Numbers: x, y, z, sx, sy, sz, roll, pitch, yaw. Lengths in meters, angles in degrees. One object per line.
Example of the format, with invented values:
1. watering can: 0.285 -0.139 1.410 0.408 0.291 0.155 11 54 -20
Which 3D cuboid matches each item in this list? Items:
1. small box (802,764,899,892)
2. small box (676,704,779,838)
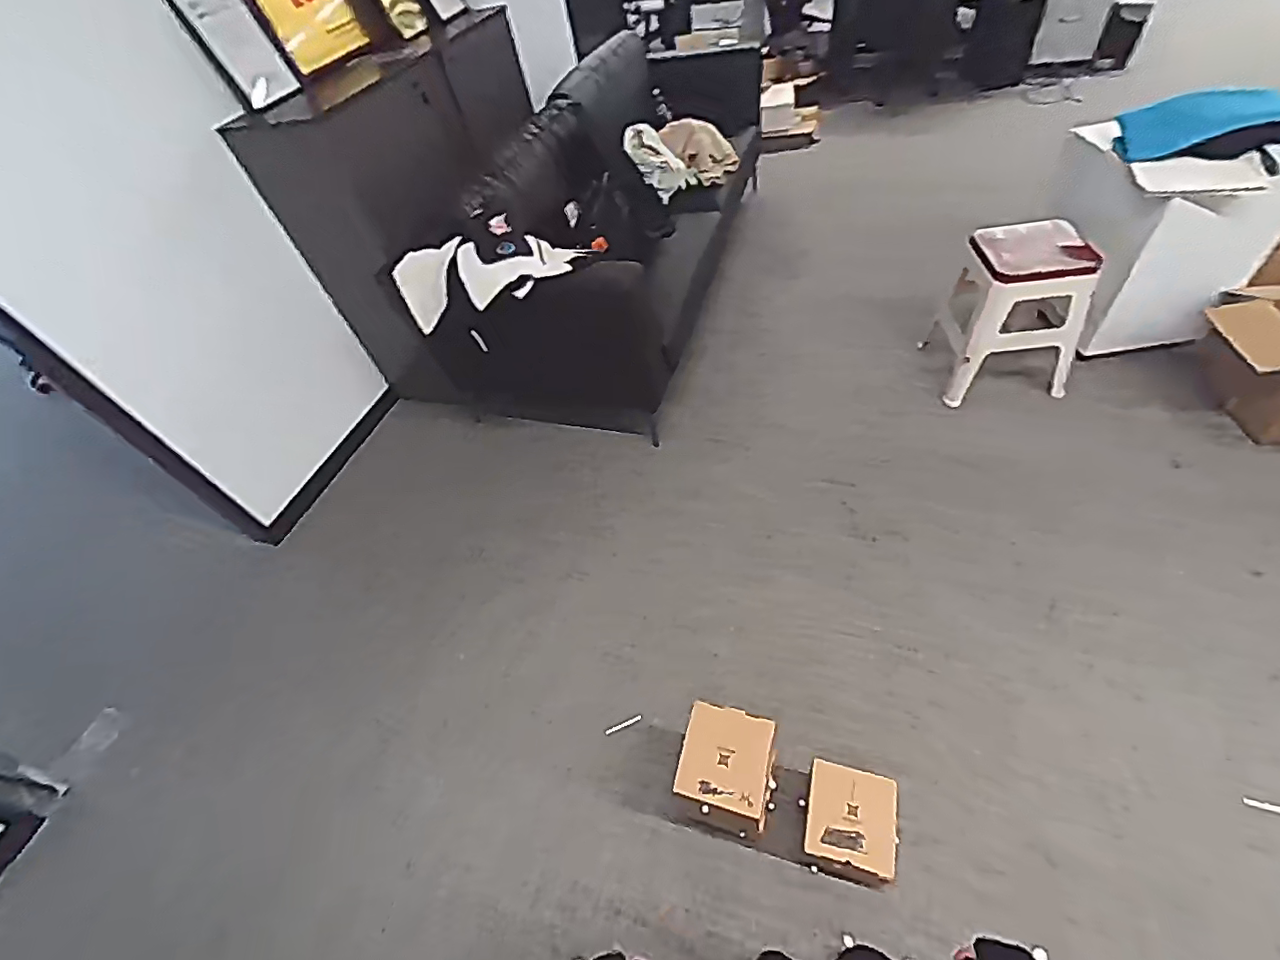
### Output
1. small box: 0.436 0.730 1.131 0.168 0.176 0.179 8 51 18
2. small box: 0.180 0.589 1.093 0.168 0.176 0.179 9 51 19
